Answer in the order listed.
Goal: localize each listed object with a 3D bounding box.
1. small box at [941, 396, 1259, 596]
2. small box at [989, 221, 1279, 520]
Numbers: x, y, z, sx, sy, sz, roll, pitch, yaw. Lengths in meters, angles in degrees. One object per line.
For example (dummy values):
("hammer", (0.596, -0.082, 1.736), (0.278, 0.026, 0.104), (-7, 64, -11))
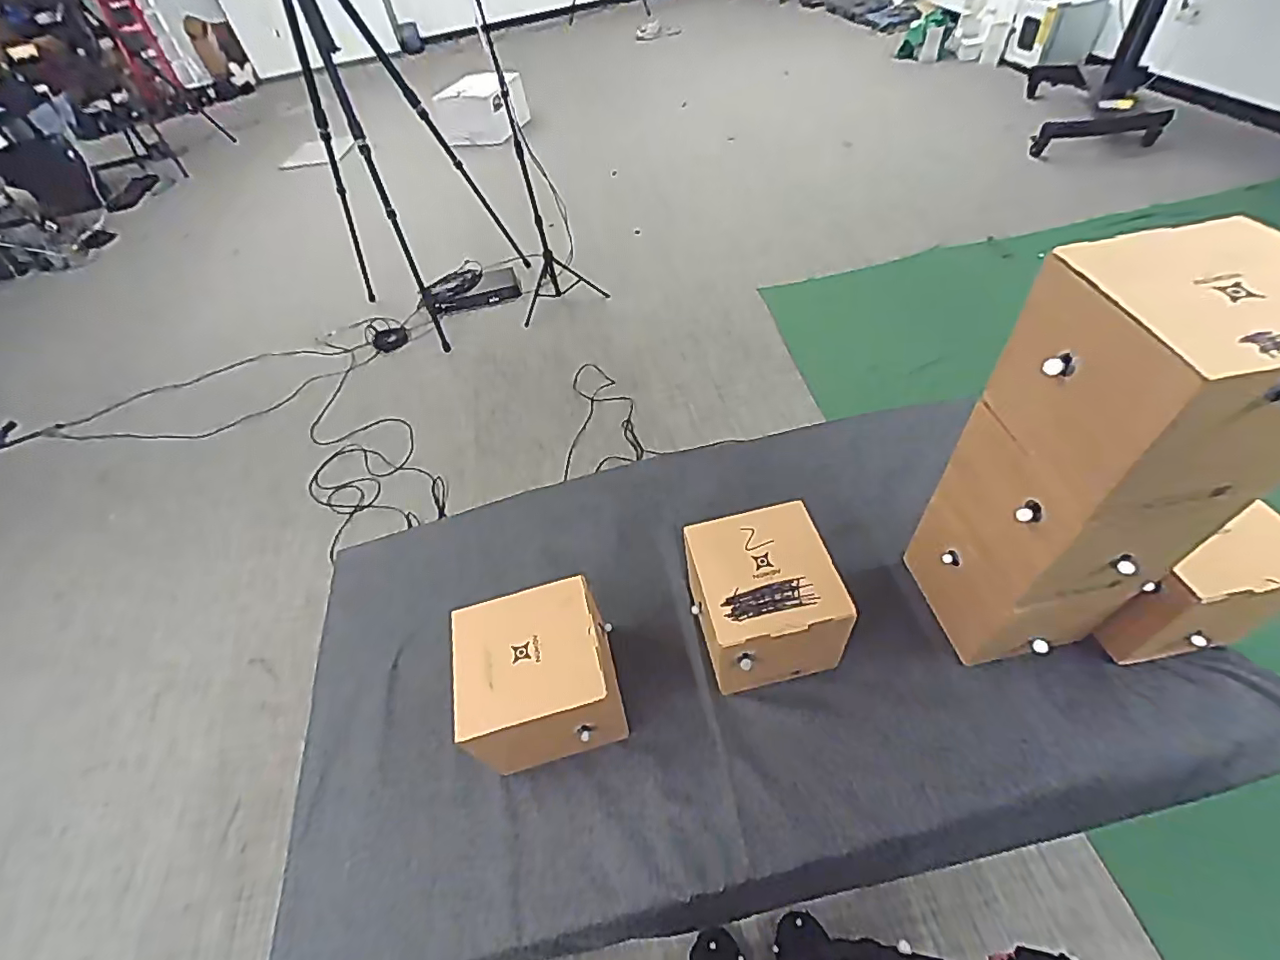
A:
("small box", (0.469, 0.012, 0.592), (0.168, 0.176, 0.179), (-11, 49, 0))
("small box", (0.446, -0.091, 0.466), (0.168, 0.176, 0.179), (-10, 49, 2))
